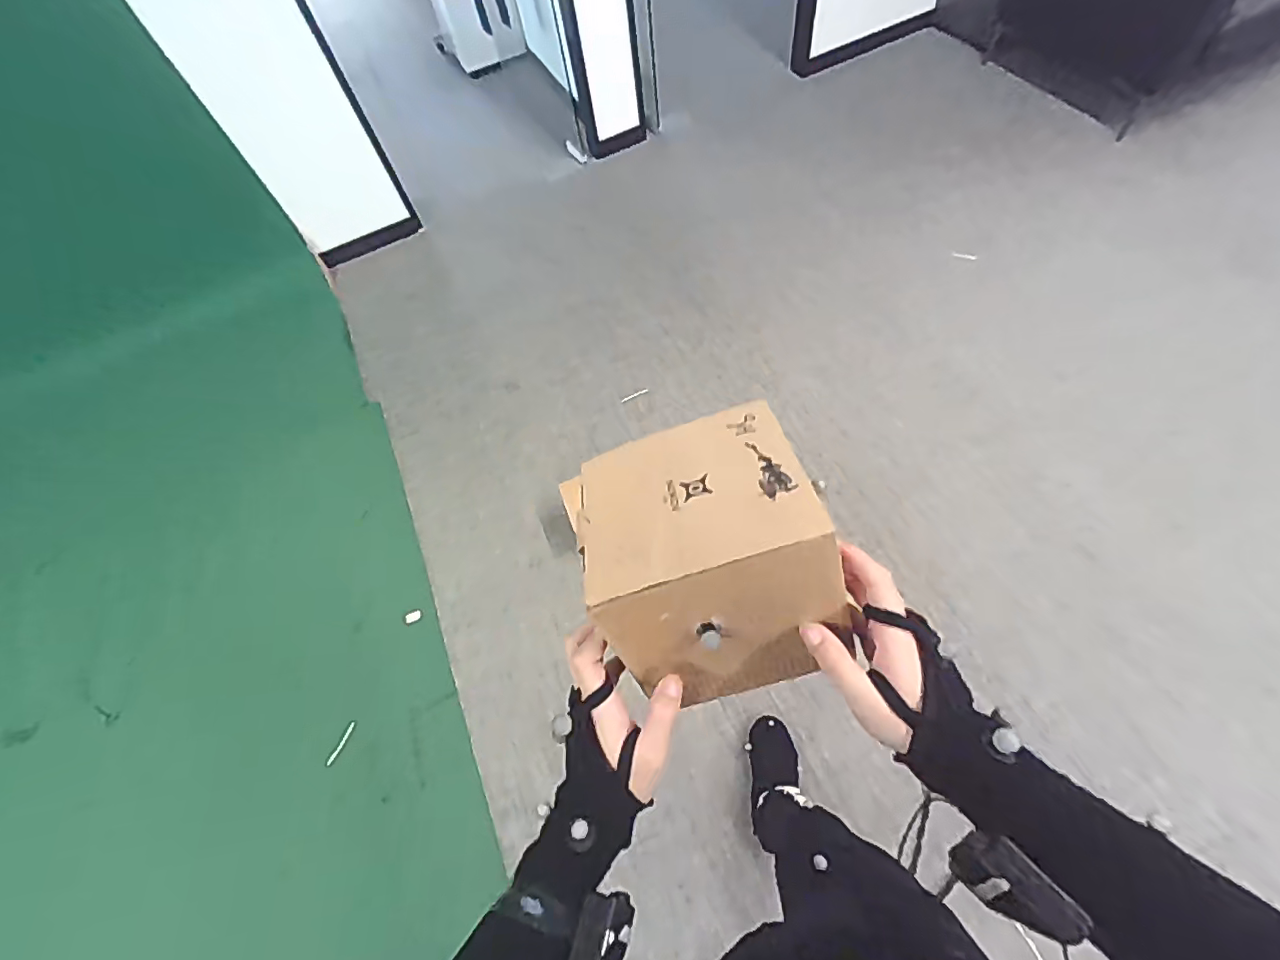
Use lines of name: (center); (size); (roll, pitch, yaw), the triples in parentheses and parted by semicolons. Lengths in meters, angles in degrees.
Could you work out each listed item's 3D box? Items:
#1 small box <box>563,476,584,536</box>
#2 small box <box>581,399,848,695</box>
small box: (-0.121, 0.088, 1.680); (0.168, 0.176, 0.179); (-22, 59, -4)
small box: (0.062, 0.063, 0.478); (0.179, 0.176, 0.168); (-20, 39, 10)
